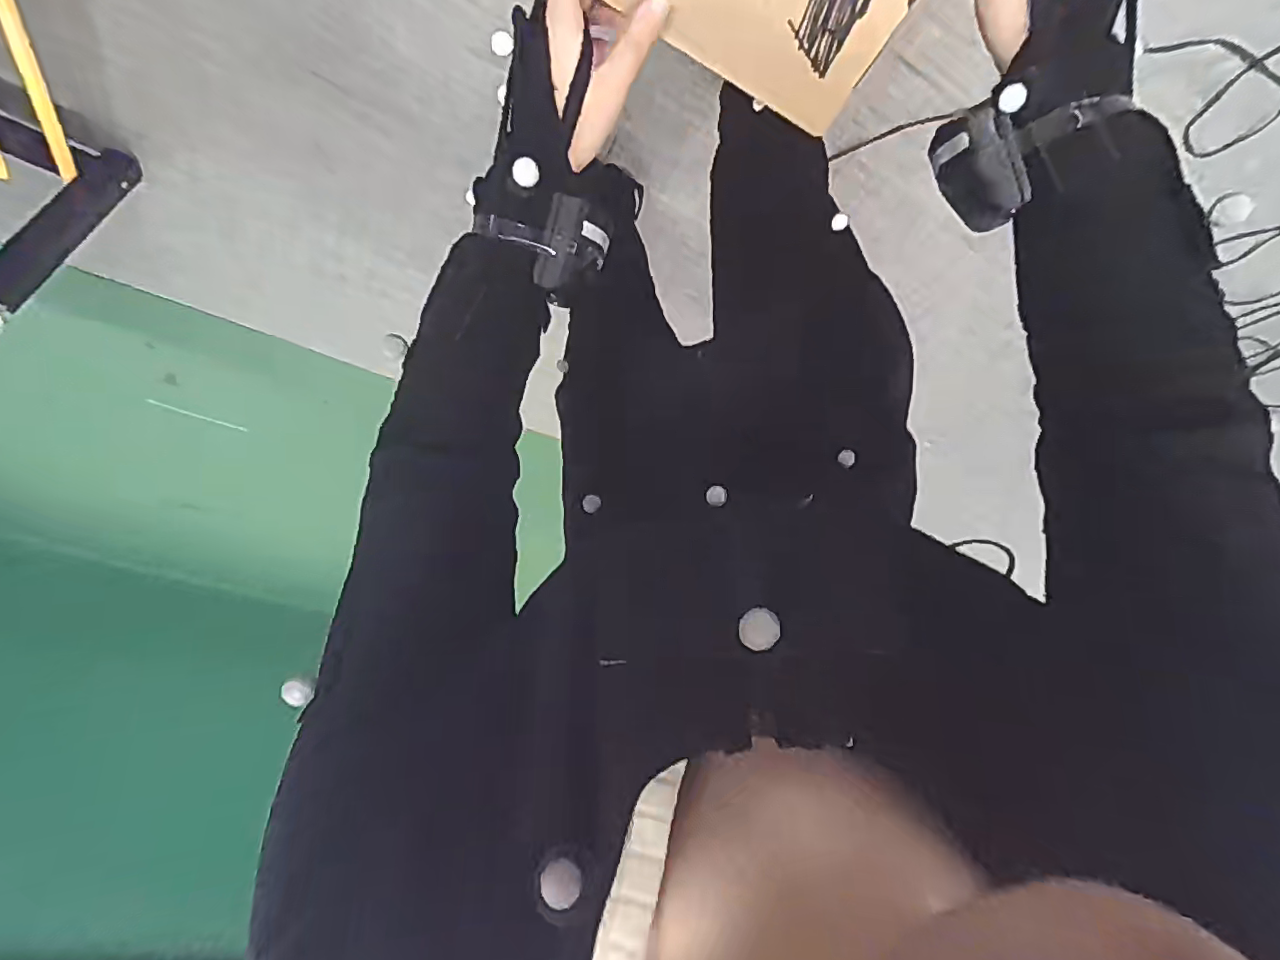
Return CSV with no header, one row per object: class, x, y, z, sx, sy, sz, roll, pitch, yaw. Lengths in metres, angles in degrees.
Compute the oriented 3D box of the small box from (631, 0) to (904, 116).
small box,0.085,-0.369,0.309,0.179,0.176,0.168,19,147,-18
